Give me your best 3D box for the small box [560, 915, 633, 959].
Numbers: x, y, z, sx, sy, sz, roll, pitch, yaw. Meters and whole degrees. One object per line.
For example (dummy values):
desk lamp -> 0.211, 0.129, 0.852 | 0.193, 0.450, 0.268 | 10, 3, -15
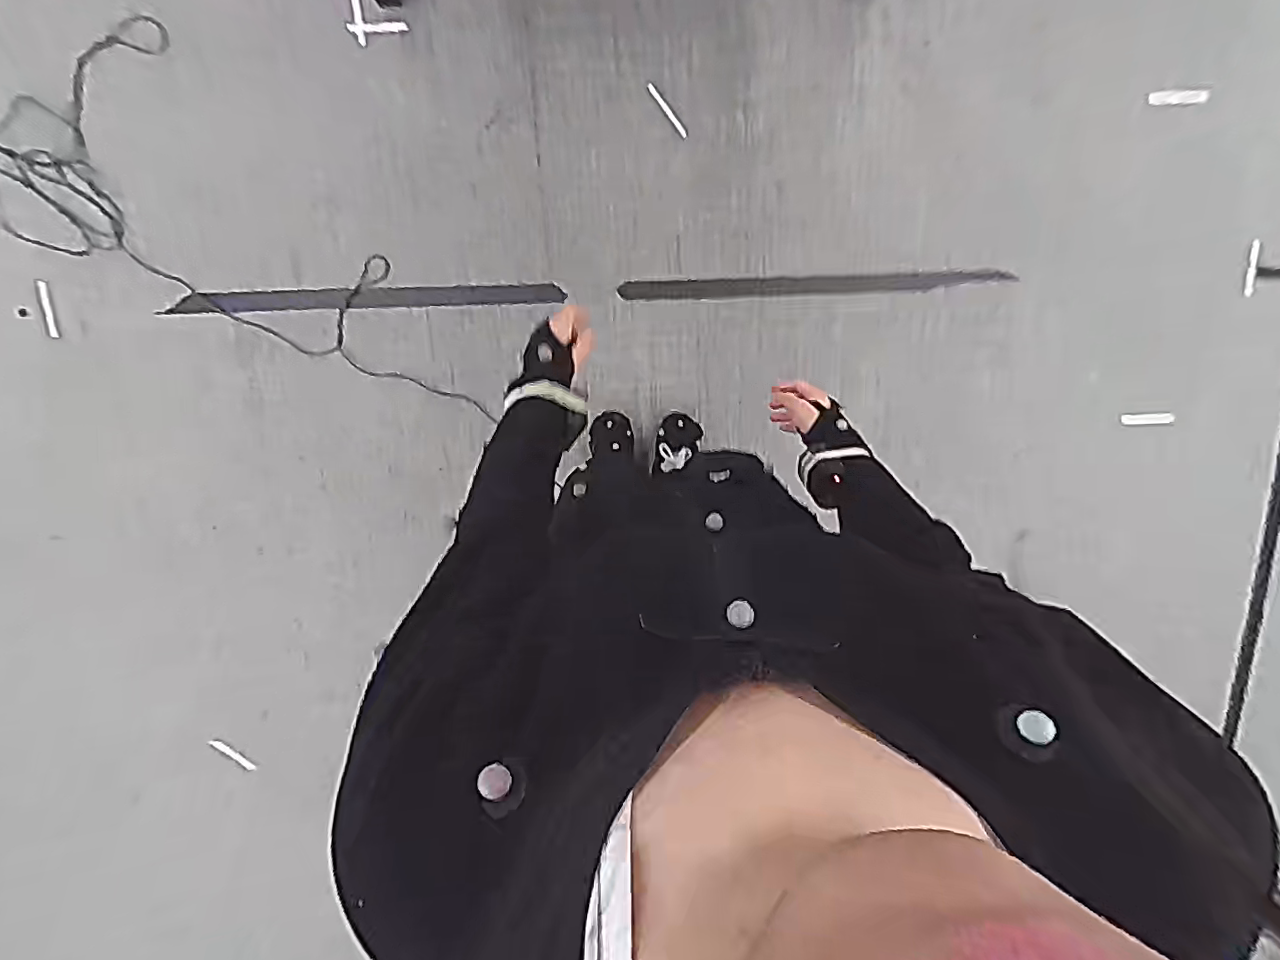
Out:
small box -> -0.106, 1.205, 1.315 | 0.179, 0.176, 0.168 | 0, 98, 2
